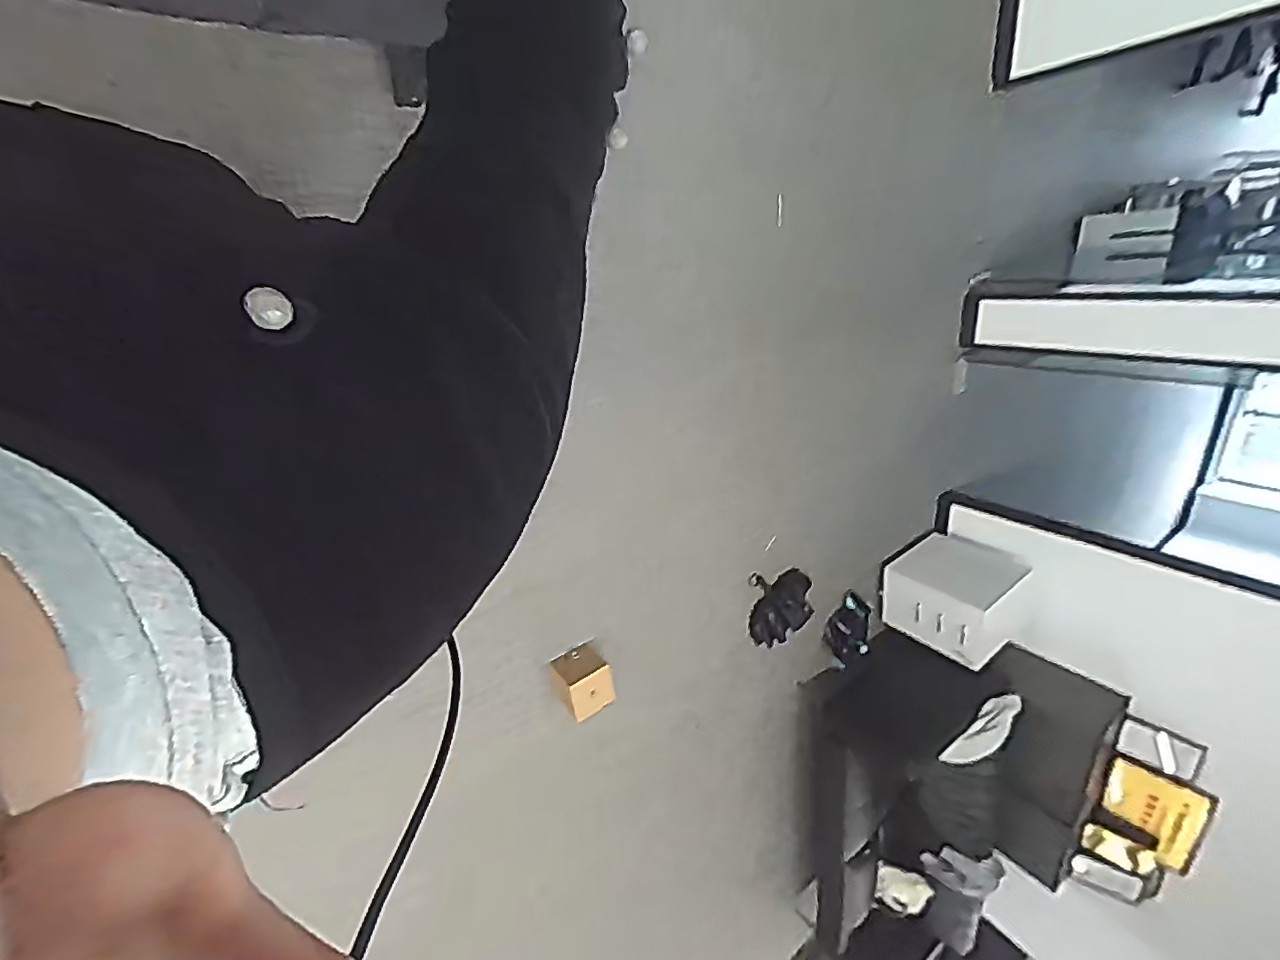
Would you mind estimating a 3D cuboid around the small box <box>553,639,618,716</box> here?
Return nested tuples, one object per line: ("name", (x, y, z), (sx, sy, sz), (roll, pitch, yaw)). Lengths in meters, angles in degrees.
("small box", (-0.205, 0.729, 2.016), (0.168, 0.176, 0.179), (-24, 117, -29))
